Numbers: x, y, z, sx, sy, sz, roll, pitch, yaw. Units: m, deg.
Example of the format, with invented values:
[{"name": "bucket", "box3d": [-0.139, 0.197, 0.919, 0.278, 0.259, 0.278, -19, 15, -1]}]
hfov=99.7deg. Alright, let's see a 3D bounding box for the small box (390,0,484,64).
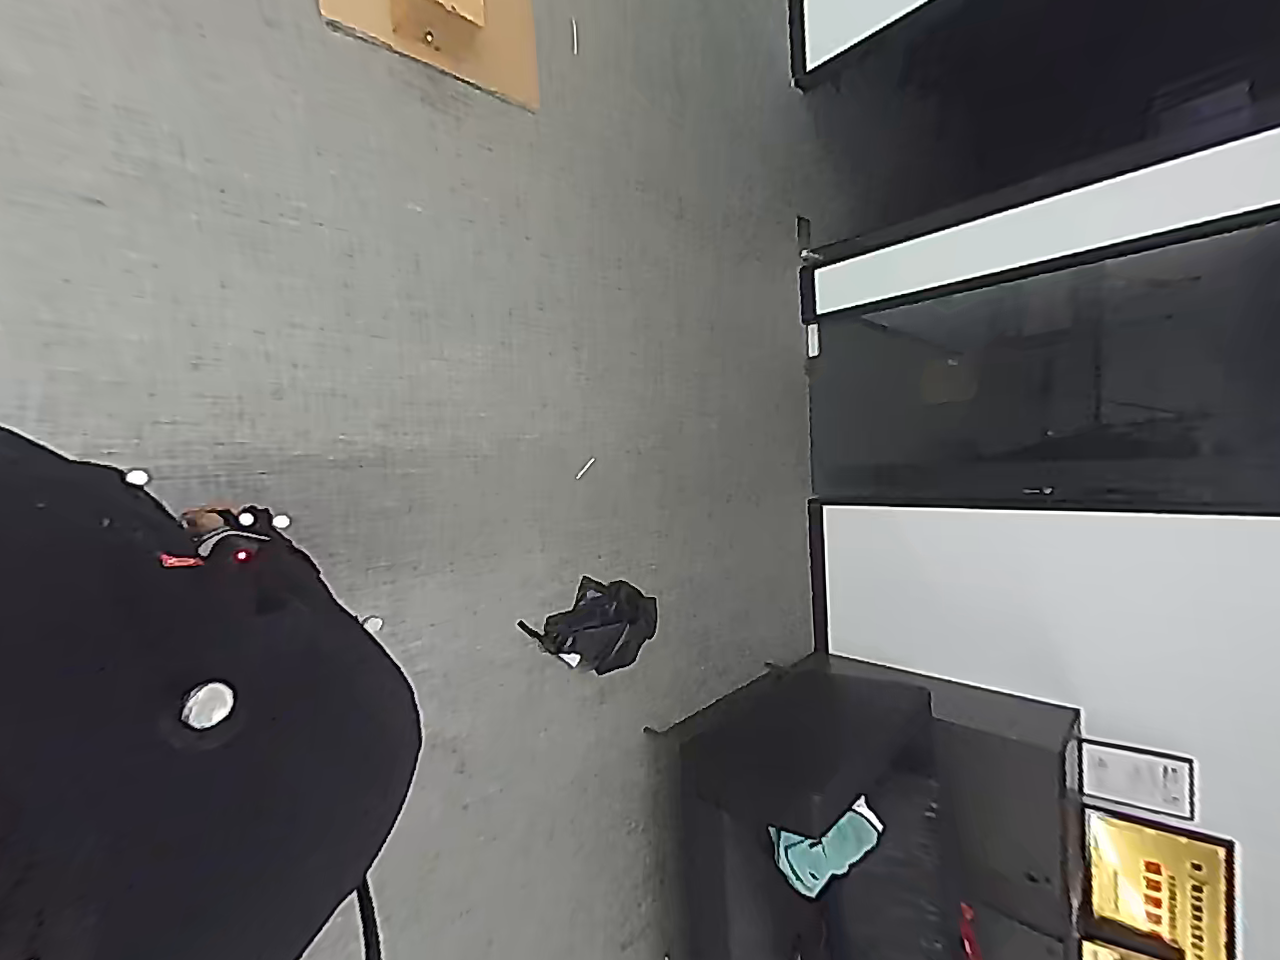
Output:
[{"name": "small box", "box3d": [-0.510, -1.201, 1.346, 0.168, 0.176, 0.179, -6, 95, -45]}]
